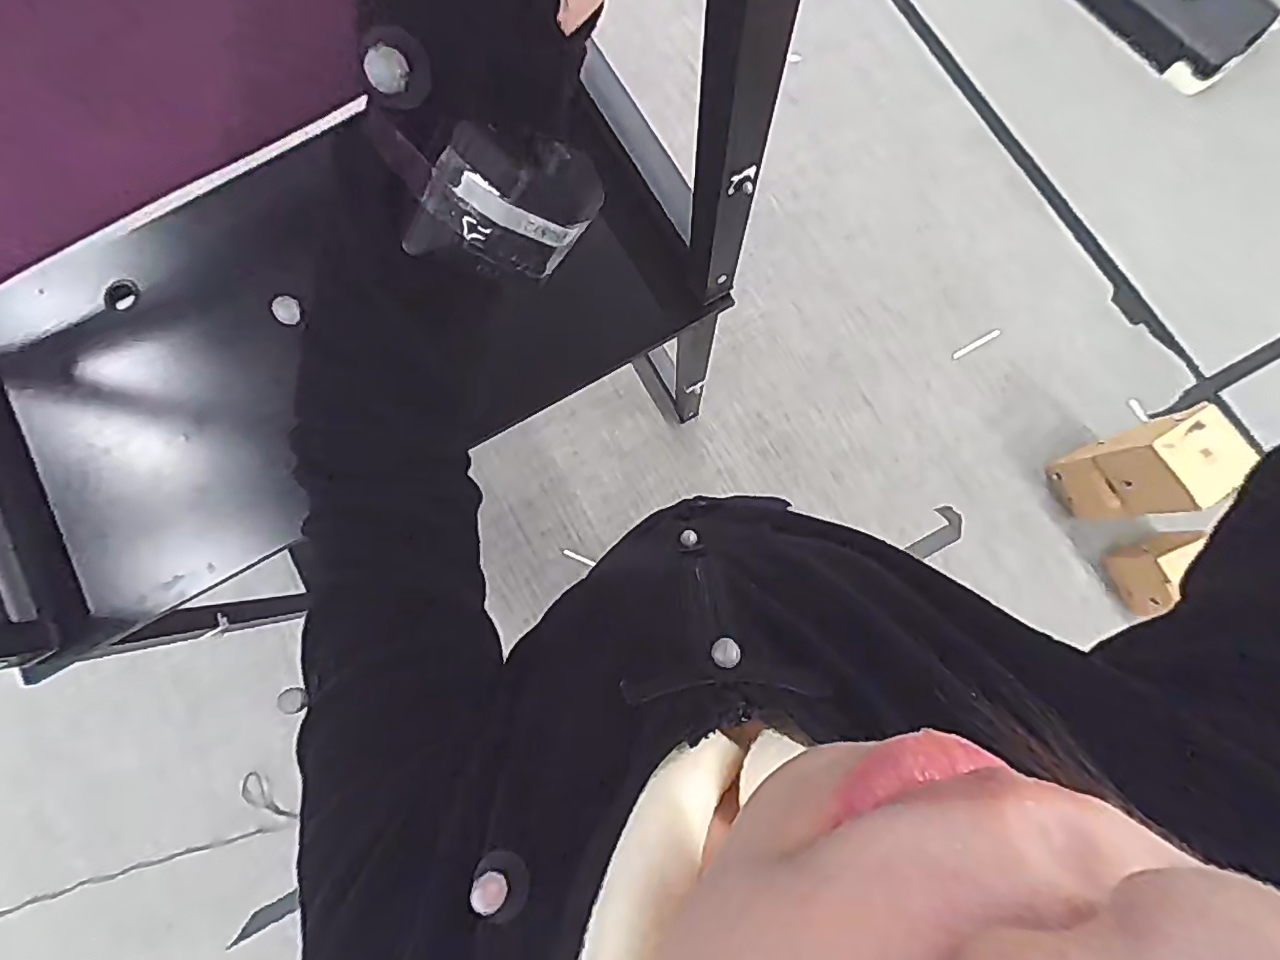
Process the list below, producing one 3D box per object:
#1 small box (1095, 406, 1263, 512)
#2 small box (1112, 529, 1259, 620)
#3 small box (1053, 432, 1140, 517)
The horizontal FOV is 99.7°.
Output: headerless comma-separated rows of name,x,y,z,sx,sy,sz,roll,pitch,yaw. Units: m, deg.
small box,1.213,-0.040,1.231,0.168,0.176,0.179,-32,83,-2
small box,1.349,0.236,1.358,0.179,0.176,0.168,-24,83,-1
small box,1.220,-0.013,1.394,0.179,0.176,0.168,-27,83,-2
